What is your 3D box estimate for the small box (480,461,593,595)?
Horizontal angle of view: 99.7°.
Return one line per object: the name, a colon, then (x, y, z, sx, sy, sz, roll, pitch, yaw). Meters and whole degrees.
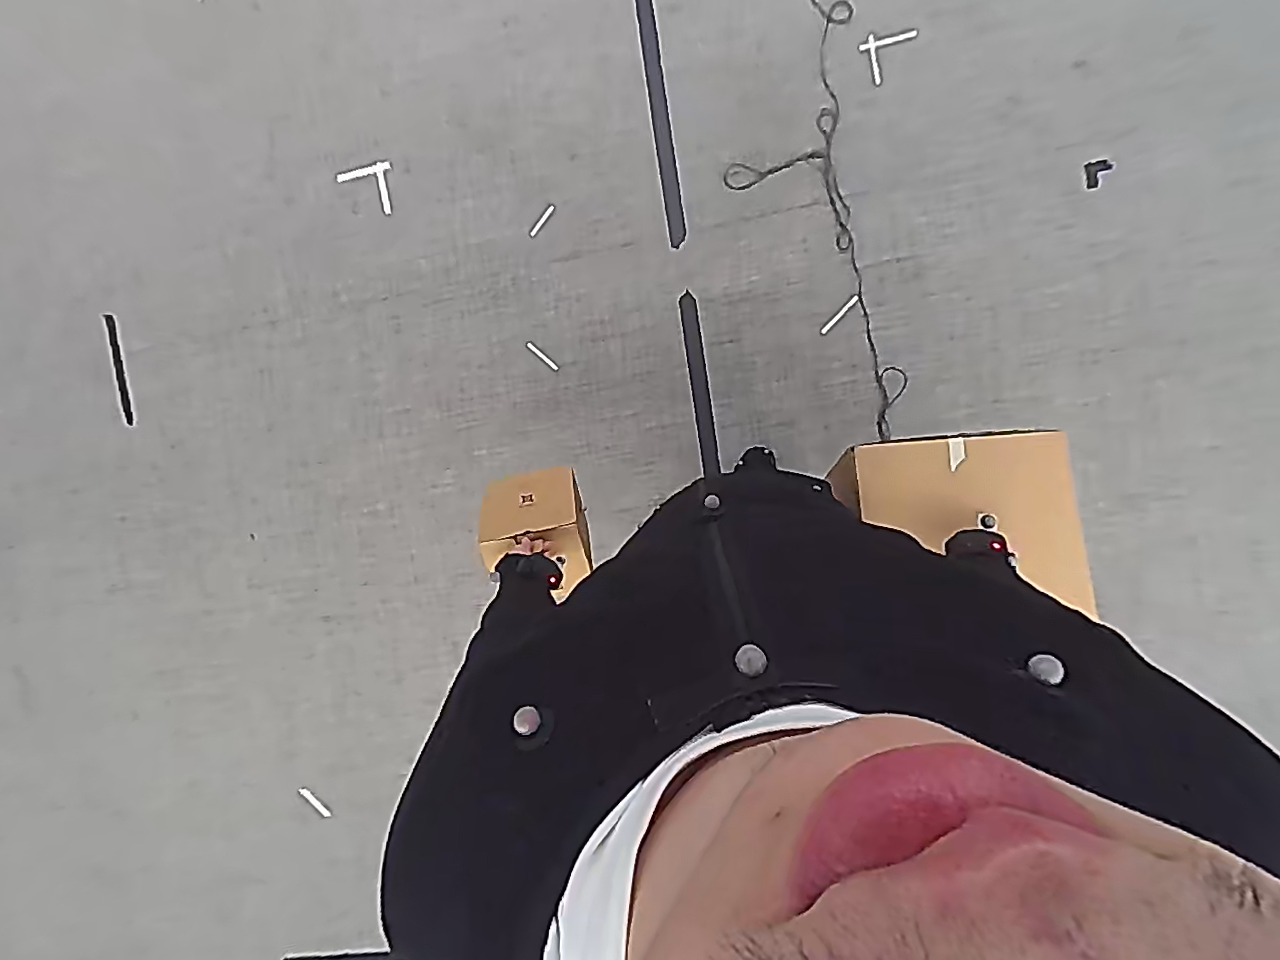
small box: (-0.186, 0.094, 1.004, 0.168, 0.179, 0.176, -11, 128, -3)
